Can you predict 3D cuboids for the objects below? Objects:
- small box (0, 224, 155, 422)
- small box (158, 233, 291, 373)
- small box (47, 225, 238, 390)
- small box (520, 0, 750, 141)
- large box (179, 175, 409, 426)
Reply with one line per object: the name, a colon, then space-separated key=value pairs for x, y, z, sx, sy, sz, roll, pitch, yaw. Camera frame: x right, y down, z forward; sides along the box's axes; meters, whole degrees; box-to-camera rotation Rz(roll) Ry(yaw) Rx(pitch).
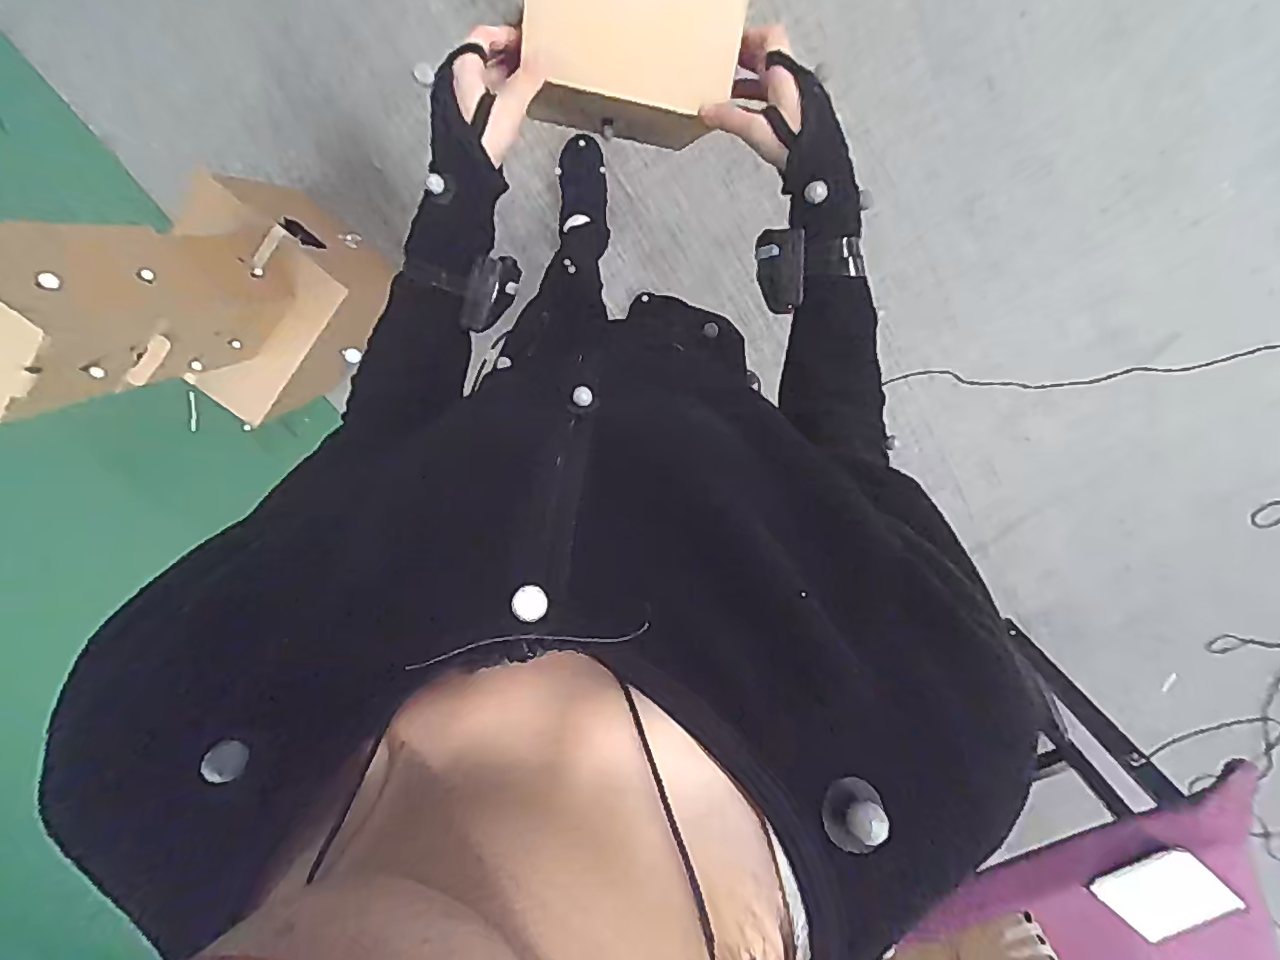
small box: x=-0.802 y=-0.210 z=0.701 sx=0.168 sy=0.176 sz=0.179 roll=-41 pitch=109 yaw=15
small box: x=-0.801 y=-0.330 z=1.006 sx=0.179 sy=0.176 sz=0.168 roll=-41 pitch=108 yaw=16
small box: x=-0.797 y=-0.276 z=0.852 sx=0.168 sy=0.176 sz=0.179 roll=-40 pitch=108 yaw=15
small box: x=-0.006 y=-0.410 z=0.457 sx=0.168 sy=0.176 sz=0.179 roll=6 pitch=113 yaw=-12
large box: x=-0.817 y=-0.407 z=1.240 sx=0.320 sy=0.320 sz=0.408 roll=41 pitch=109 yaw=-14
